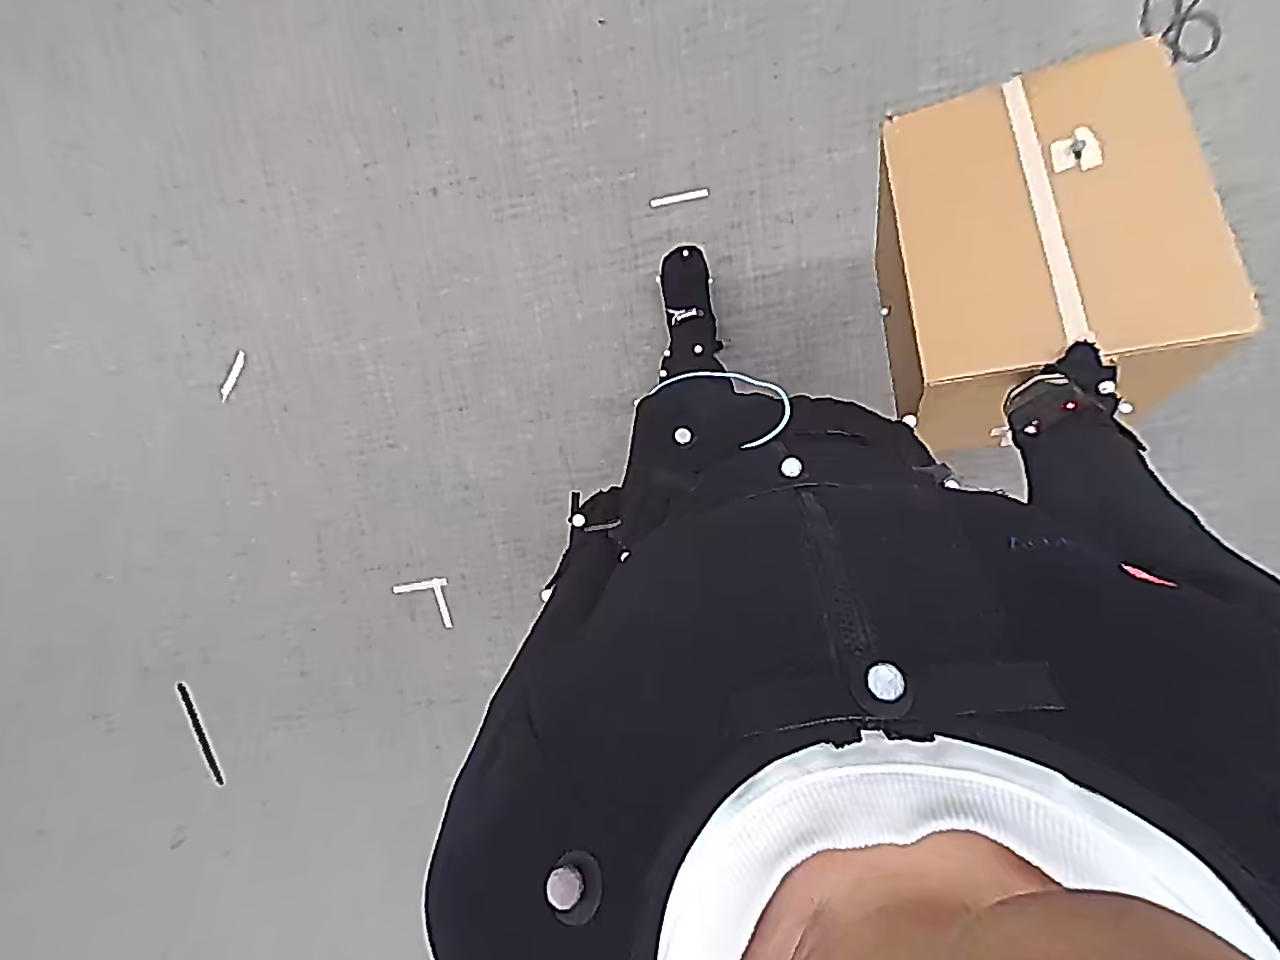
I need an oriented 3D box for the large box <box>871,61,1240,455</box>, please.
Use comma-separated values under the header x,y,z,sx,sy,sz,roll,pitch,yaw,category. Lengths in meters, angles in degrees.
x,y,z,sx,sy,sz,roll,pitch,yaw,category
0.544,-0.288,0.814,0.320,0.320,0.408,-7,72,18,large box
